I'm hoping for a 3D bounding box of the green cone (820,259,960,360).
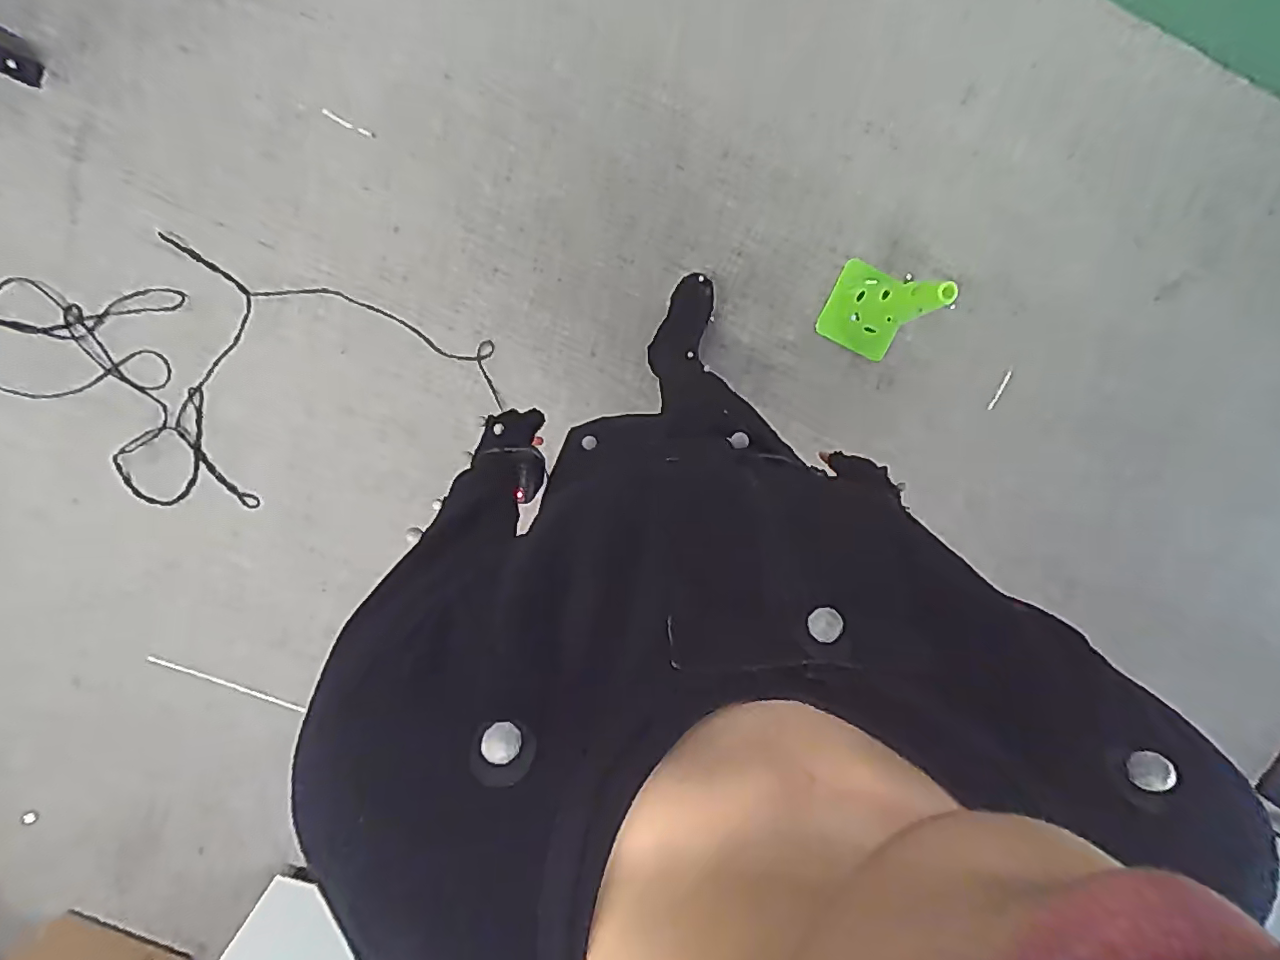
[{"bbox_3d":[0.581,-0.390,1.194,0.200,0.368,0.202,22,101,-6],"label":"green cone"}]
